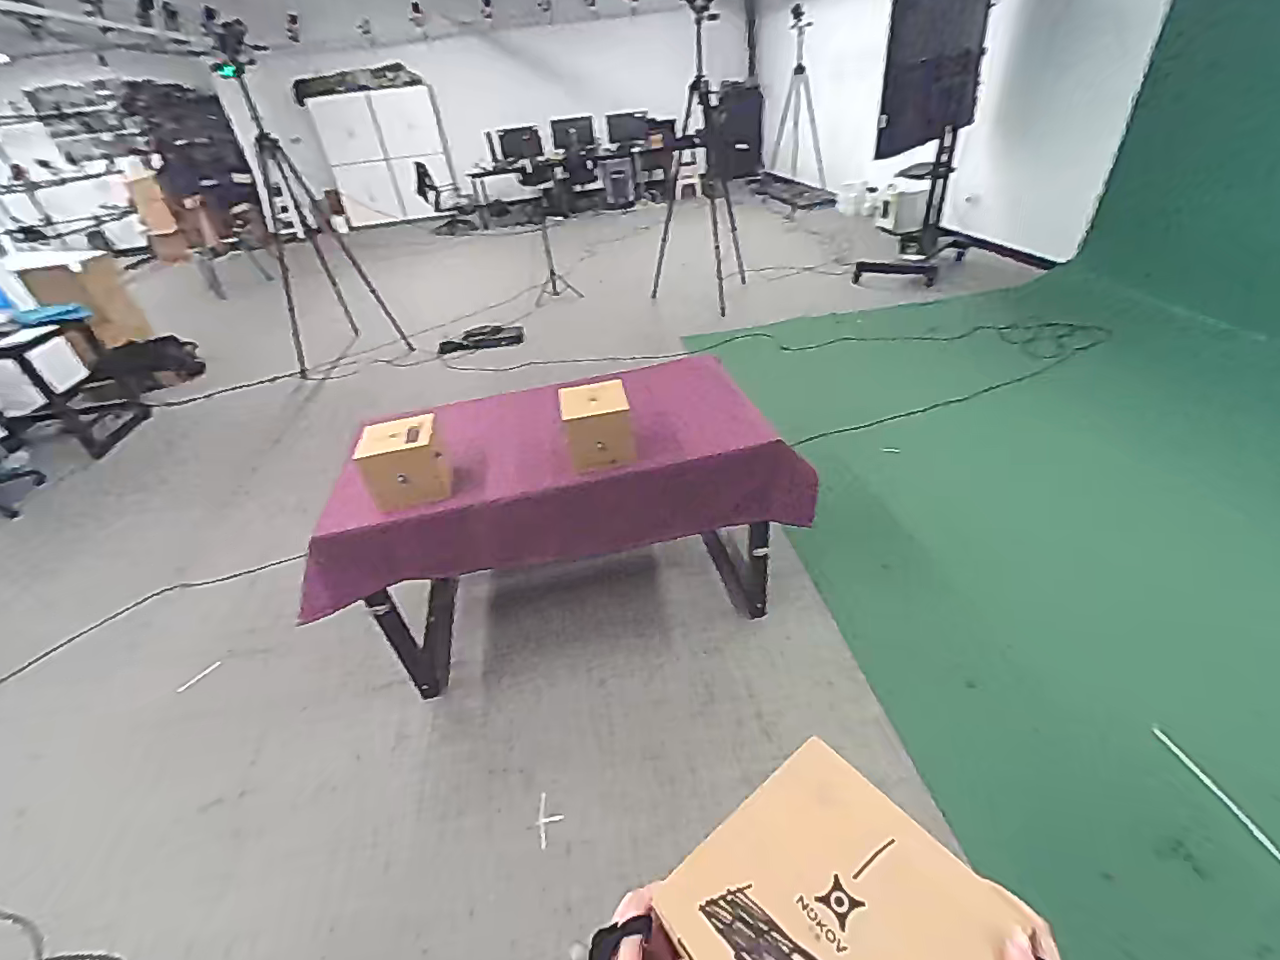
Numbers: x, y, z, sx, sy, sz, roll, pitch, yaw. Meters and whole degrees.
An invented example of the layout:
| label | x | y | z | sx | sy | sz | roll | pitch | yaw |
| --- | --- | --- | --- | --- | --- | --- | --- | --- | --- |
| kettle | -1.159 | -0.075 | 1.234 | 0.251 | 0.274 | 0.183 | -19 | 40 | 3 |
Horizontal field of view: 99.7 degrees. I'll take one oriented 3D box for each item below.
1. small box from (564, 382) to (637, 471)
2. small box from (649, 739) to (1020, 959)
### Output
| label | x | y | z | sx | sy | sz | roll | pitch | yaw |
| --- | --- | --- | --- | --- | --- | --- | --- | --- | --- |
| small box | -0.104 | -0.136 | 1.433 | 0.168 | 0.176 | 0.179 | -10 | 36 | -4 |
| small box | 0.133 | 0.345 | 0.396 | 0.179 | 0.176 | 0.168 | -29 | 38 | -25 |
